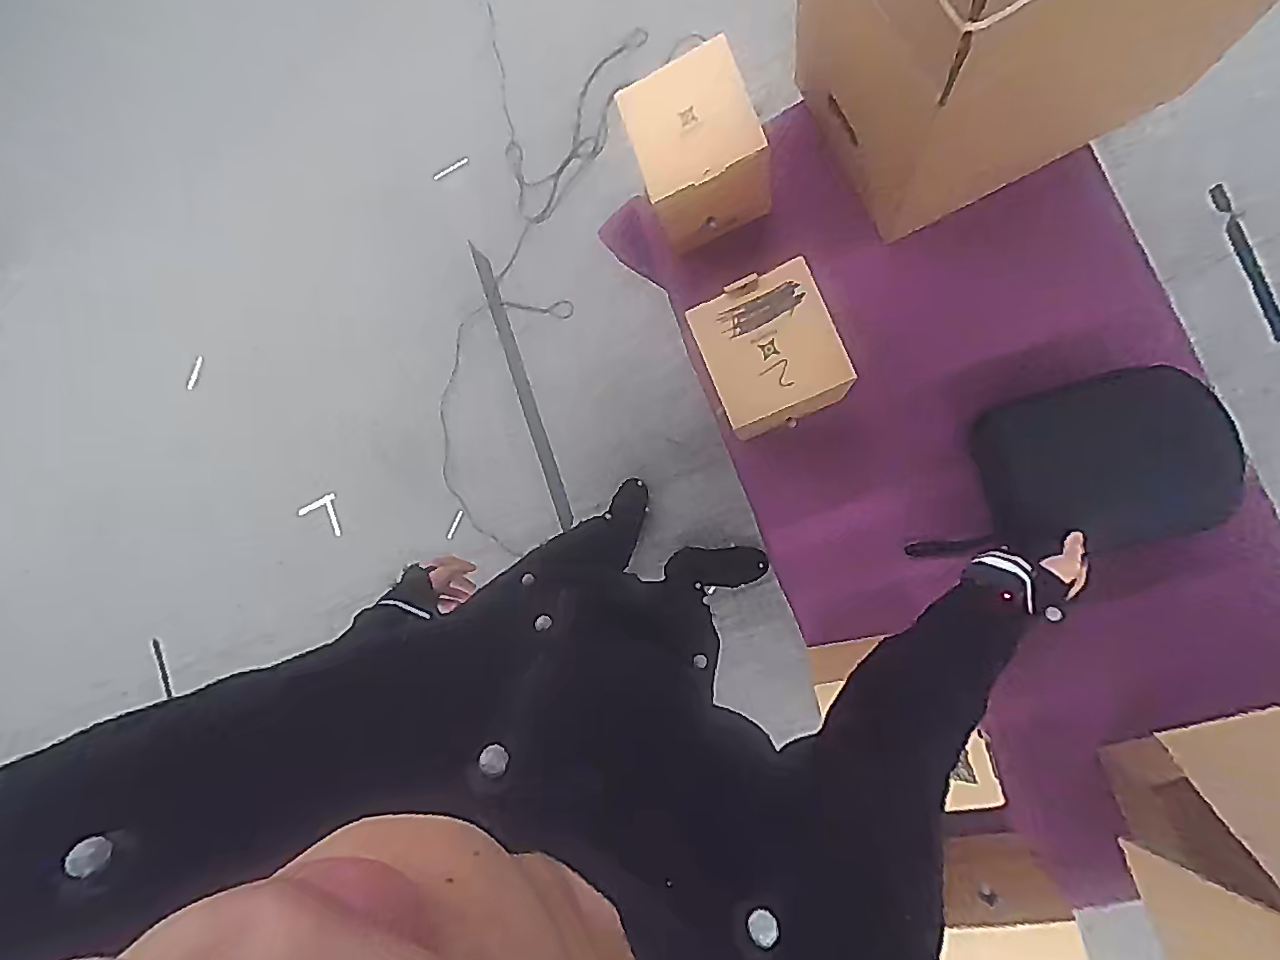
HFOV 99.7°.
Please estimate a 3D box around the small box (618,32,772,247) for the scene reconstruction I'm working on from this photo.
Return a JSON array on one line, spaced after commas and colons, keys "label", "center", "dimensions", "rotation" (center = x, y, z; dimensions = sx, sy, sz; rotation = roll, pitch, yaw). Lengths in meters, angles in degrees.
[{"label": "small box", "center": [0.088, -0.485, 0.801], "dimensions": [0.168, 0.176, 0.179], "rotation": [-21, 85, 14]}]
